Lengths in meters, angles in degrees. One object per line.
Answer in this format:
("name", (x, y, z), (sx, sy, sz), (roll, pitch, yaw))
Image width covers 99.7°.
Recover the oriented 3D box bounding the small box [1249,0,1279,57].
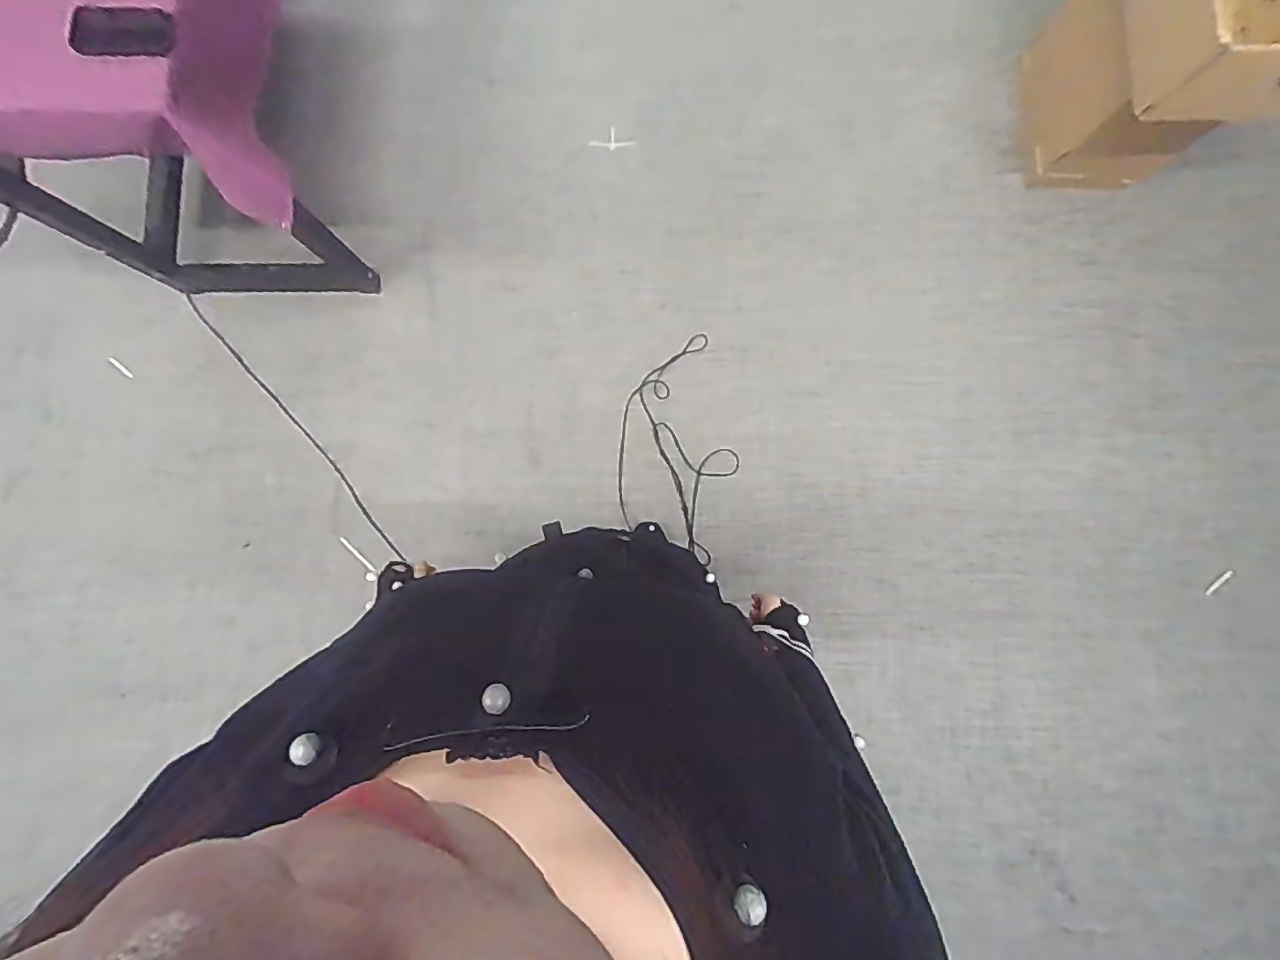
("small box", (1.328, -0.941, 1.025), (0.179, 0.176, 0.168), (6, 86, 2))
